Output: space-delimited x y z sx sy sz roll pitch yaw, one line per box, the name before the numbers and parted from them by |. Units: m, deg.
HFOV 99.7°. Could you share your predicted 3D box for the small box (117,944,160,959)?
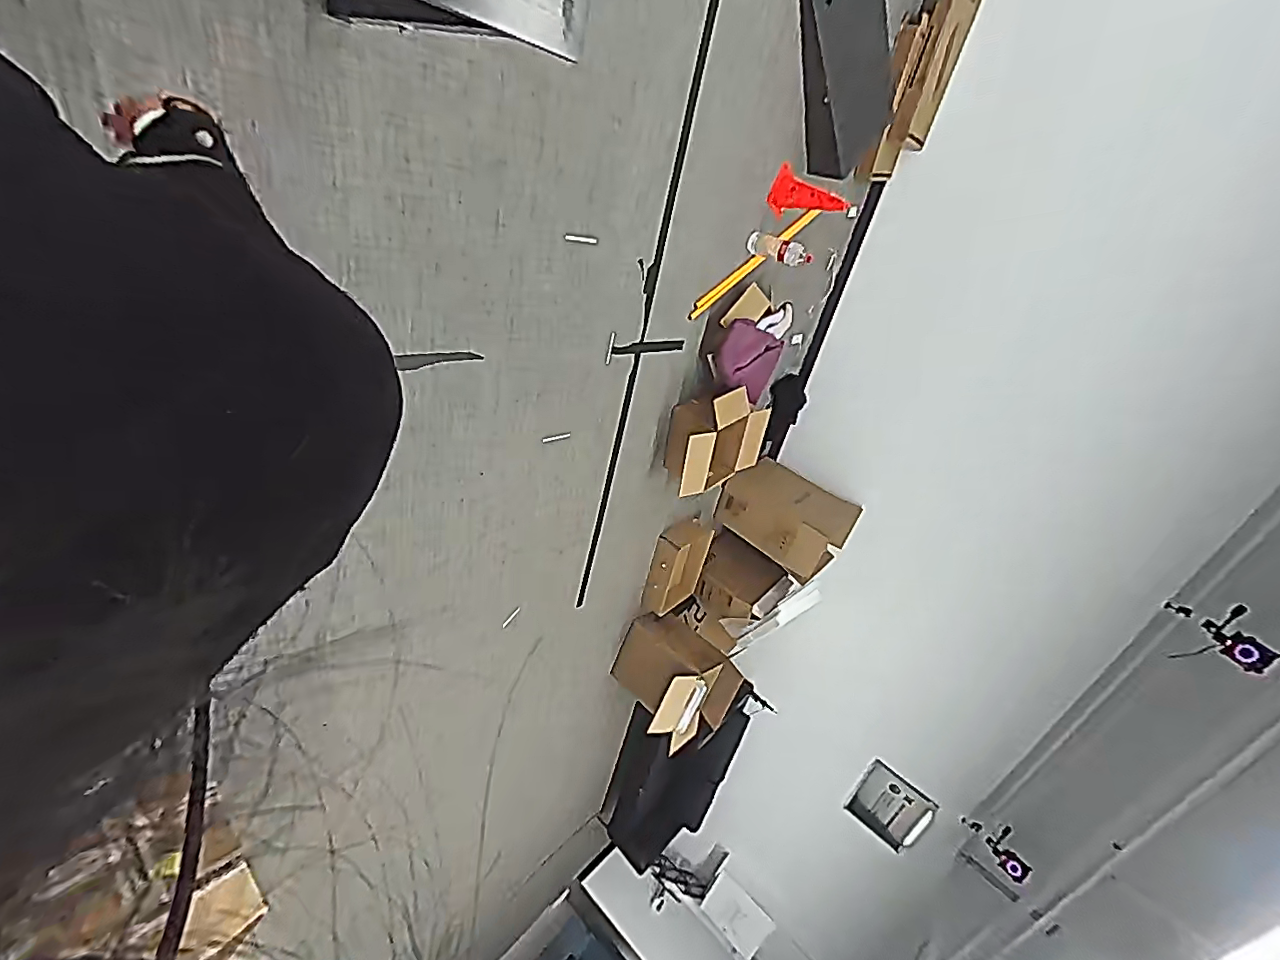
small box | -1.233 1.264 1.269 0.179 0.176 0.168 -26 135 -41
